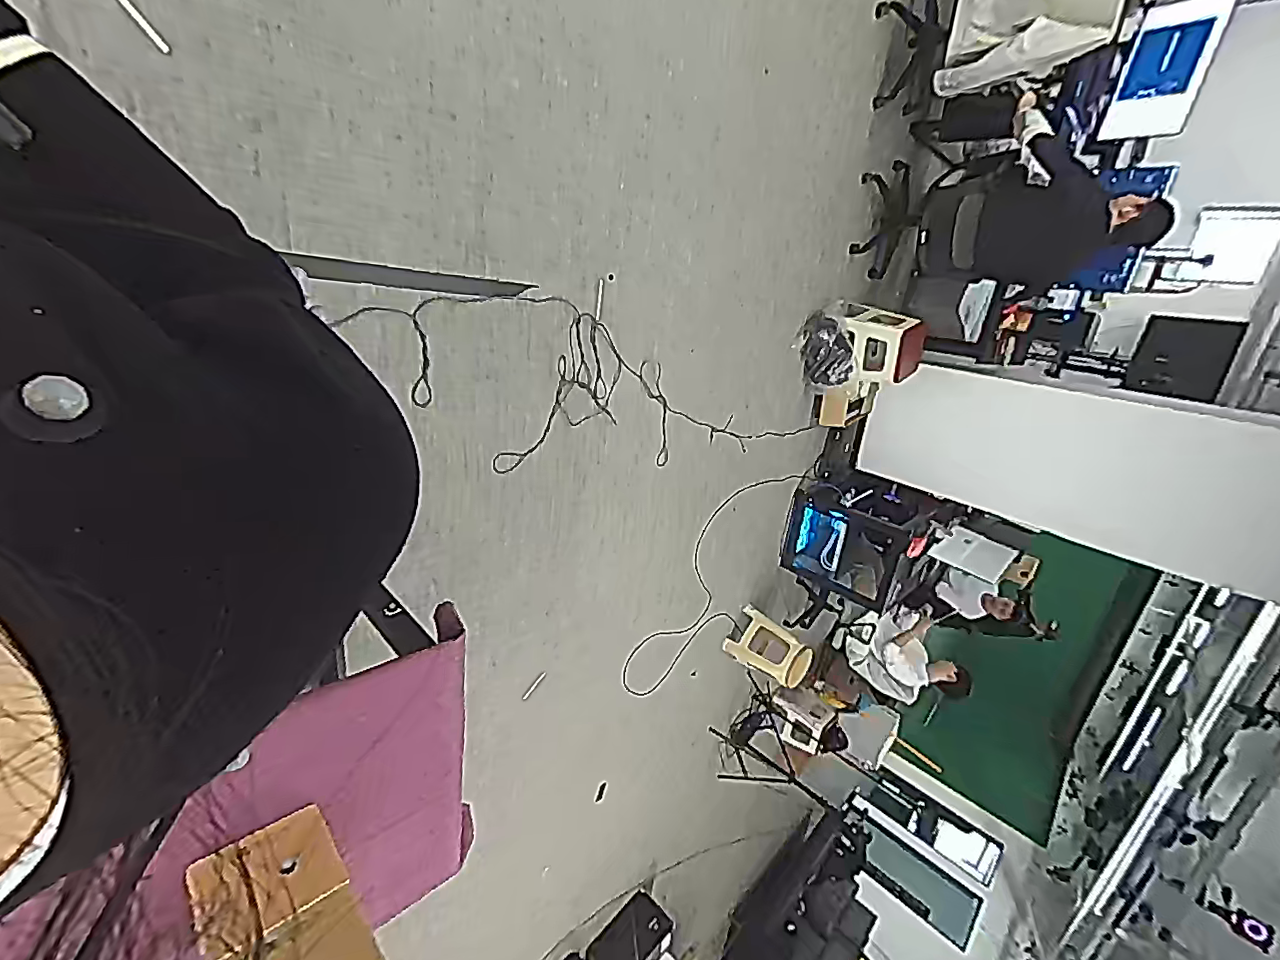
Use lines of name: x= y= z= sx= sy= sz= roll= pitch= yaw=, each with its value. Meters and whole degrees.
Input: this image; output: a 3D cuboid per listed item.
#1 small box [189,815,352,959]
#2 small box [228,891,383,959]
small box: x=-0.550 y=0.648 z=0.811 sx=0.168 sy=0.176 sz=0.179 roll=-12 pitch=118 yaw=-45
small box: x=-0.434 y=0.706 z=0.711 sx=0.168 sy=0.176 sz=0.179 roll=-13 pitch=119 yaw=-45
